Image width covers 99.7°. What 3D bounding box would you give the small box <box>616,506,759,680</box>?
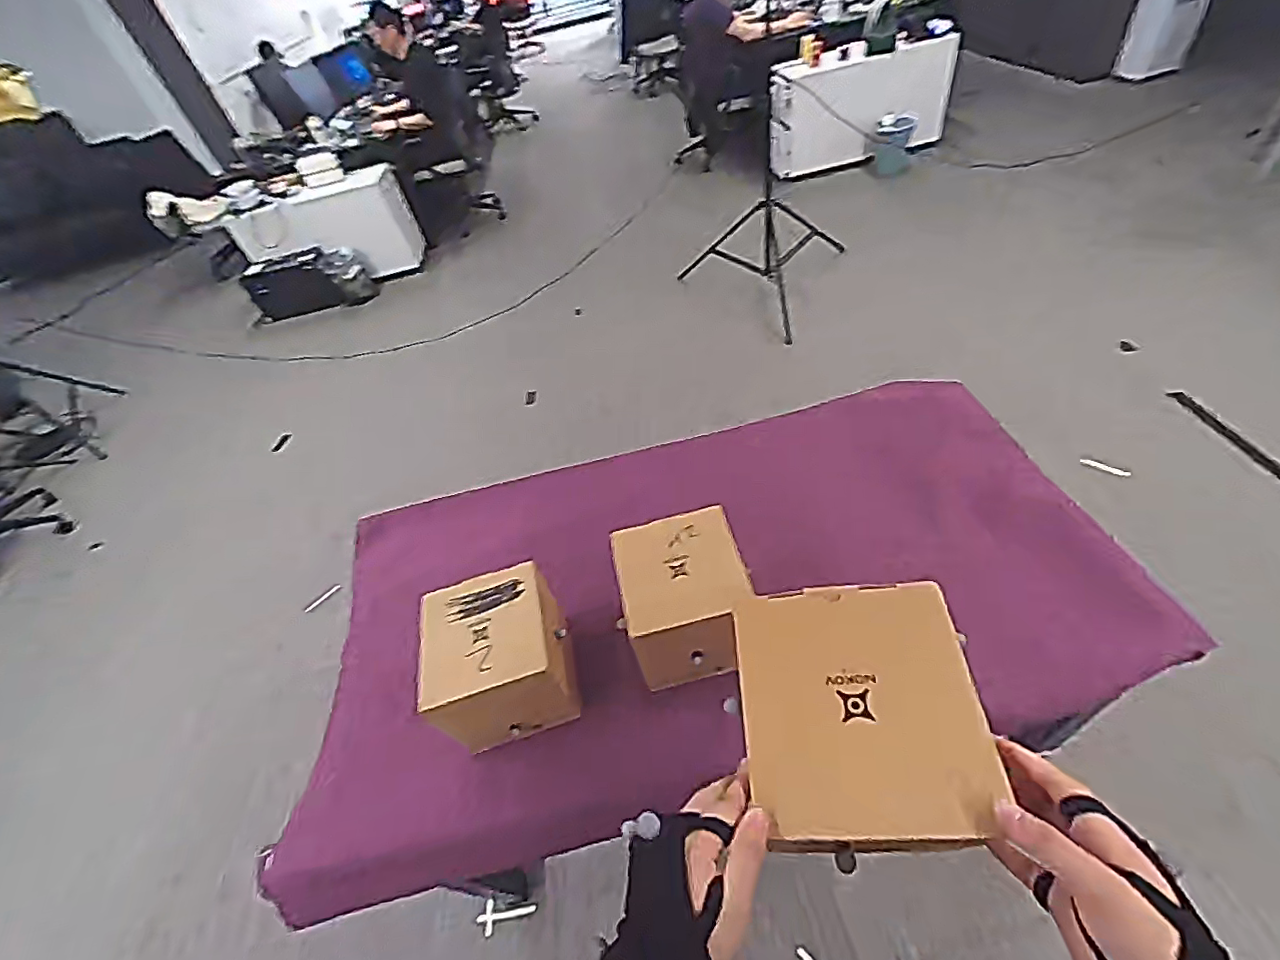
[{"bbox_3d":[0.071,0.171,0.788,0.168,0.176,0.179,-14,45,0],"label":"small box"}]
